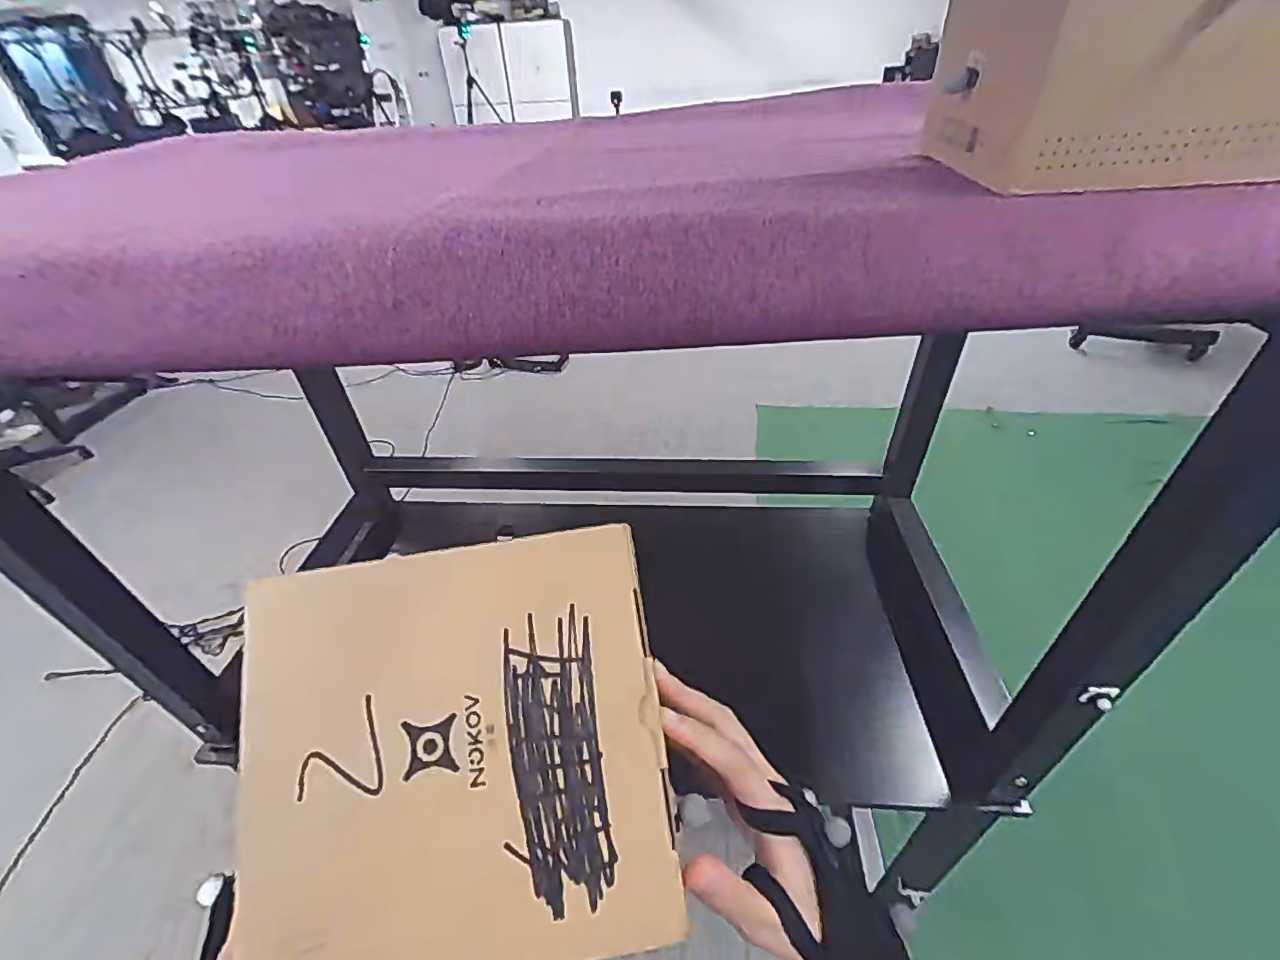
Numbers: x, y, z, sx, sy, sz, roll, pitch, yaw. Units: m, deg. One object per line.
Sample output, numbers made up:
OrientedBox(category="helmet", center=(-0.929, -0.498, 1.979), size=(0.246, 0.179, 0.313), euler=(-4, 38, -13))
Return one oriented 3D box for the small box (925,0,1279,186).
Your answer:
OrientedBox(category="small box", center=(0.291, -0.277, 0.302), size=(0.179, 0.176, 0.168), euler=(0, 39, 8))
